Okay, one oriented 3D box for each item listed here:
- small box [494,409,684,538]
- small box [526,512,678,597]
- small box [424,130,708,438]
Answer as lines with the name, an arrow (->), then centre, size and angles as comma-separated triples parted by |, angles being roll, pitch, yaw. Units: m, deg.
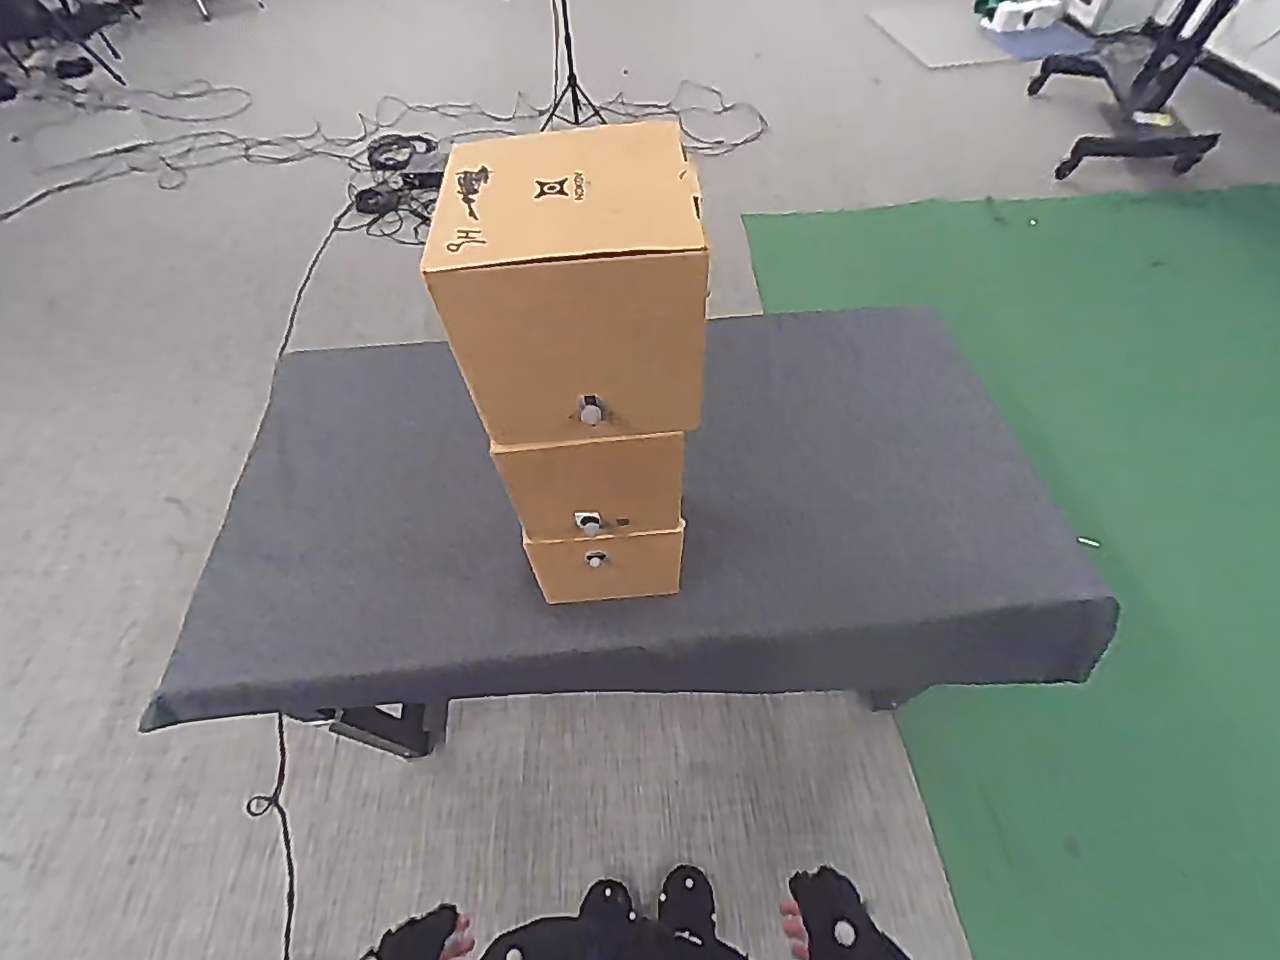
small box -> -0.049, -0.059, 0.573 | 0.168, 0.176, 0.179 | -7, 57, -1
small box -> -0.045, 0.047, 0.716 | 0.179, 0.176, 0.168 | -4, 56, -2
small box -> -0.048, -0.150, 0.437 | 0.179, 0.176, 0.168 | -4, 55, -1
